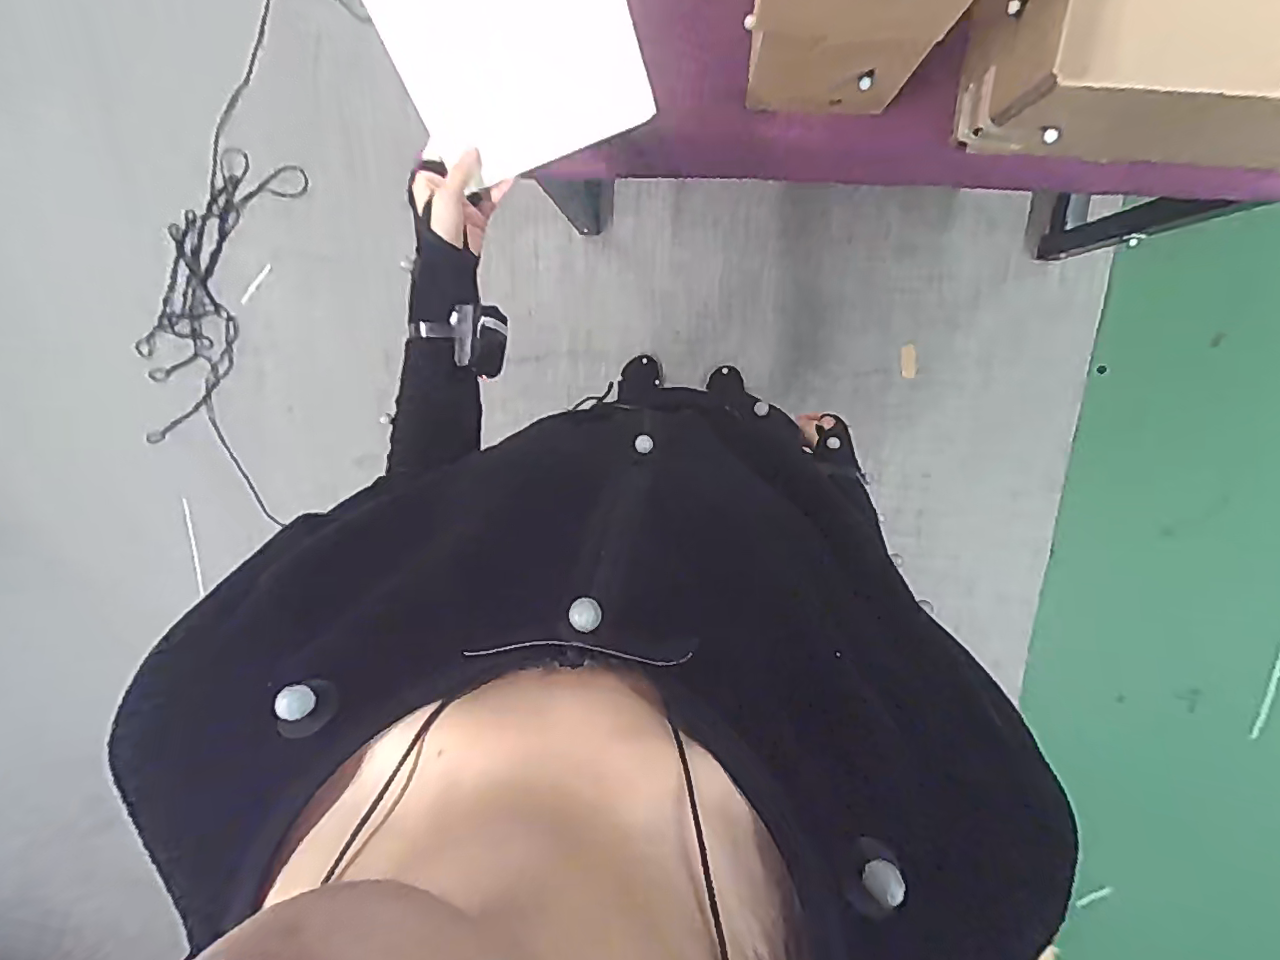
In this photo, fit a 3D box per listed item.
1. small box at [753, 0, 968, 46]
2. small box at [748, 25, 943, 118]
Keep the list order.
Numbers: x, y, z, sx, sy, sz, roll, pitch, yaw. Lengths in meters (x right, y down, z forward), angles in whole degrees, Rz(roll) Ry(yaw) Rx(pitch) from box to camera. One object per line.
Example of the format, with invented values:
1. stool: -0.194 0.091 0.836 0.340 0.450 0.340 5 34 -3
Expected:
1. small box: 0.192 -0.468 0.407 0.179 0.176 0.168 5 101 3
2. small box: 0.211 -0.510 0.565 0.168 0.176 0.179 5 101 3
